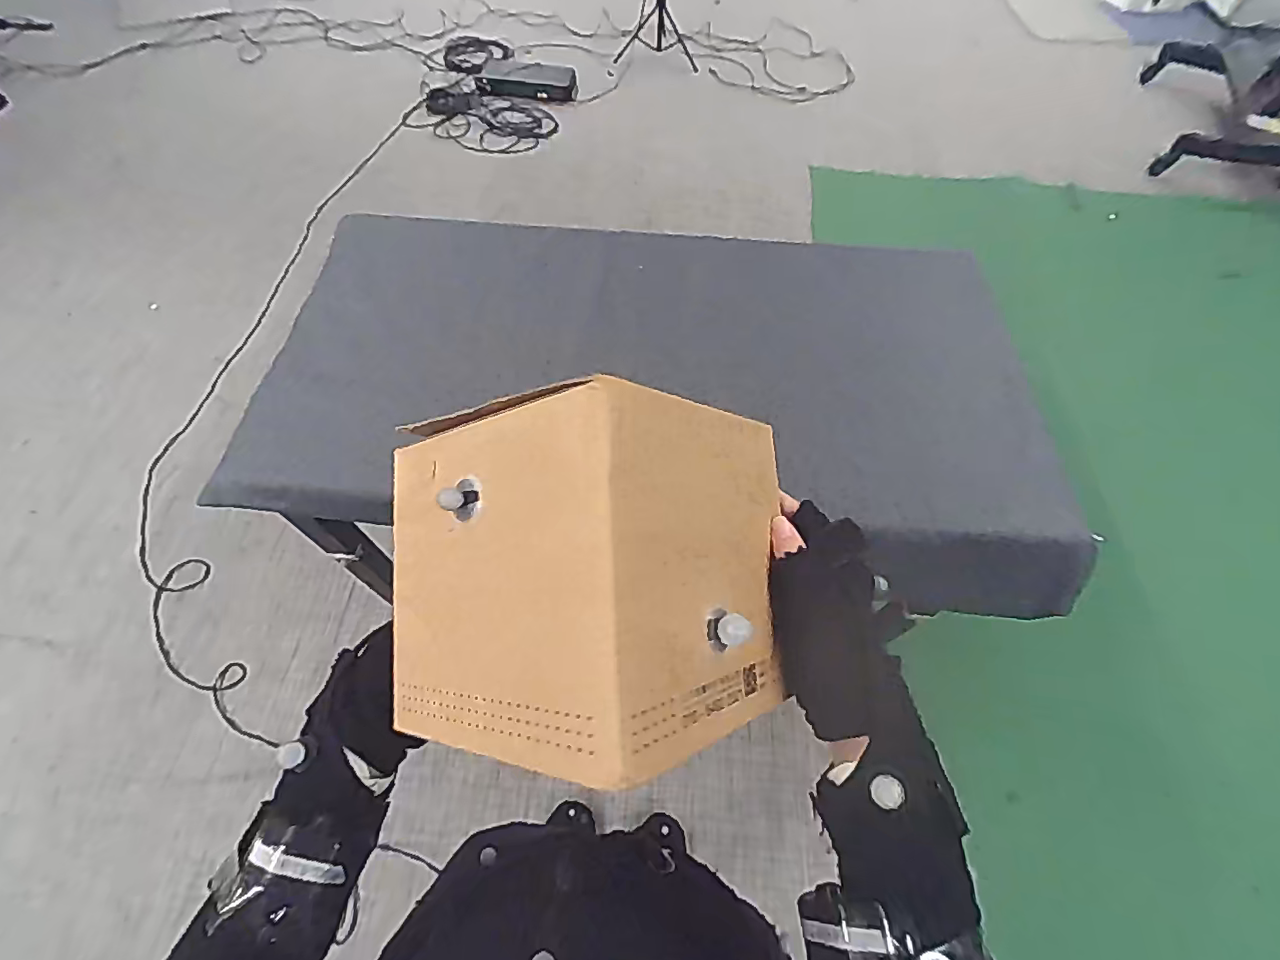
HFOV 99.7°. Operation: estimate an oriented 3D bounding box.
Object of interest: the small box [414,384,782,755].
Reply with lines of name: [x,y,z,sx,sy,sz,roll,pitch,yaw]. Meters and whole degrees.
small box: [-0.027,0.057,0.344,0.179,0.168,0.176,-10,79,37]
